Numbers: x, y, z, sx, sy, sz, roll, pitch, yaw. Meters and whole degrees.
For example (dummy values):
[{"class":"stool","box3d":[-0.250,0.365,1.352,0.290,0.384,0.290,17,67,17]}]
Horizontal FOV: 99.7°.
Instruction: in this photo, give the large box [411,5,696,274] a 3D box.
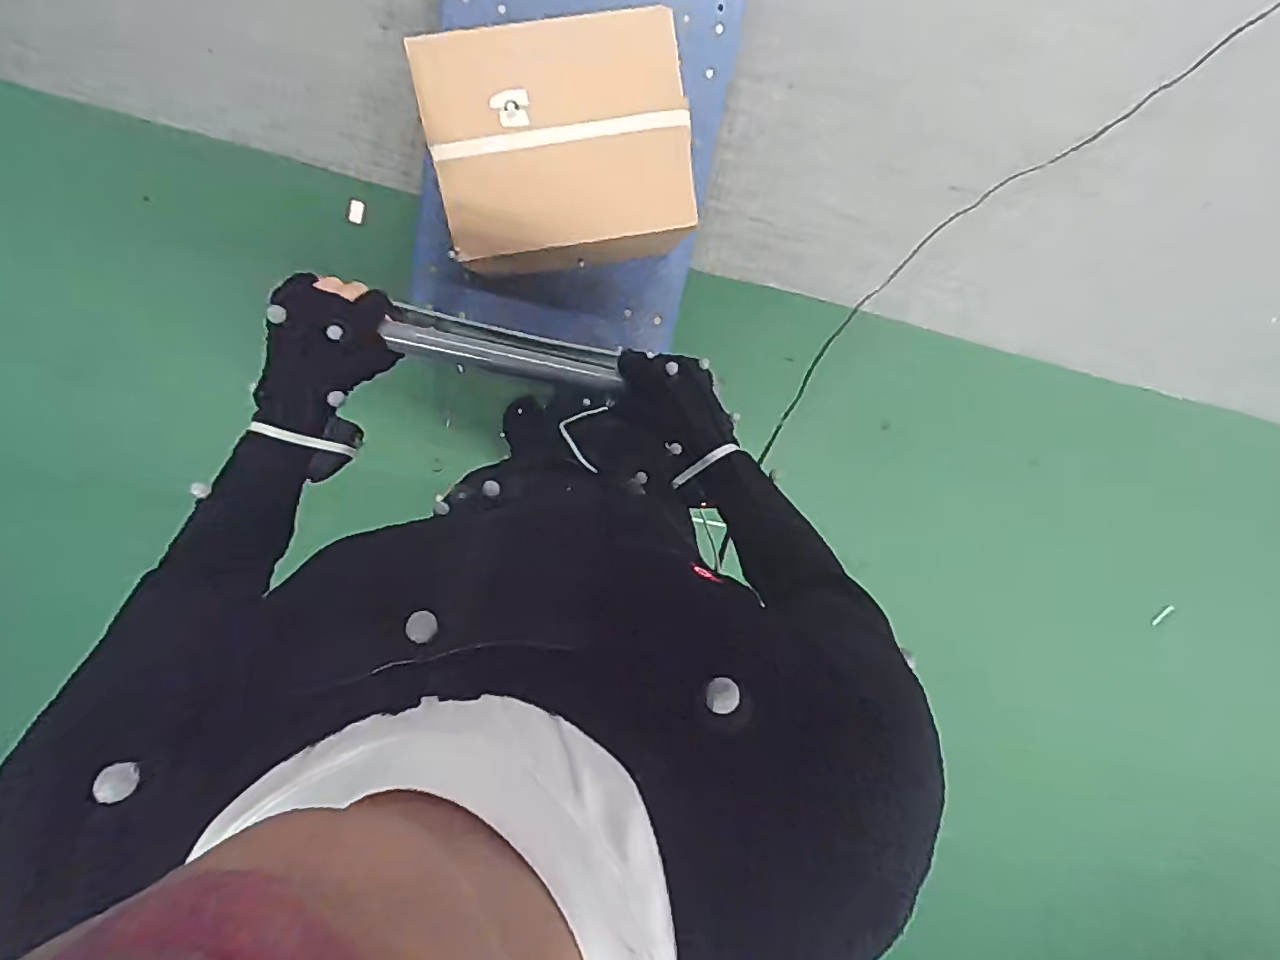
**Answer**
[{"class":"large box","box3d":[-0.136,-0.582,0.994,0.408,0.320,0.320,-10,106,-3]}]
